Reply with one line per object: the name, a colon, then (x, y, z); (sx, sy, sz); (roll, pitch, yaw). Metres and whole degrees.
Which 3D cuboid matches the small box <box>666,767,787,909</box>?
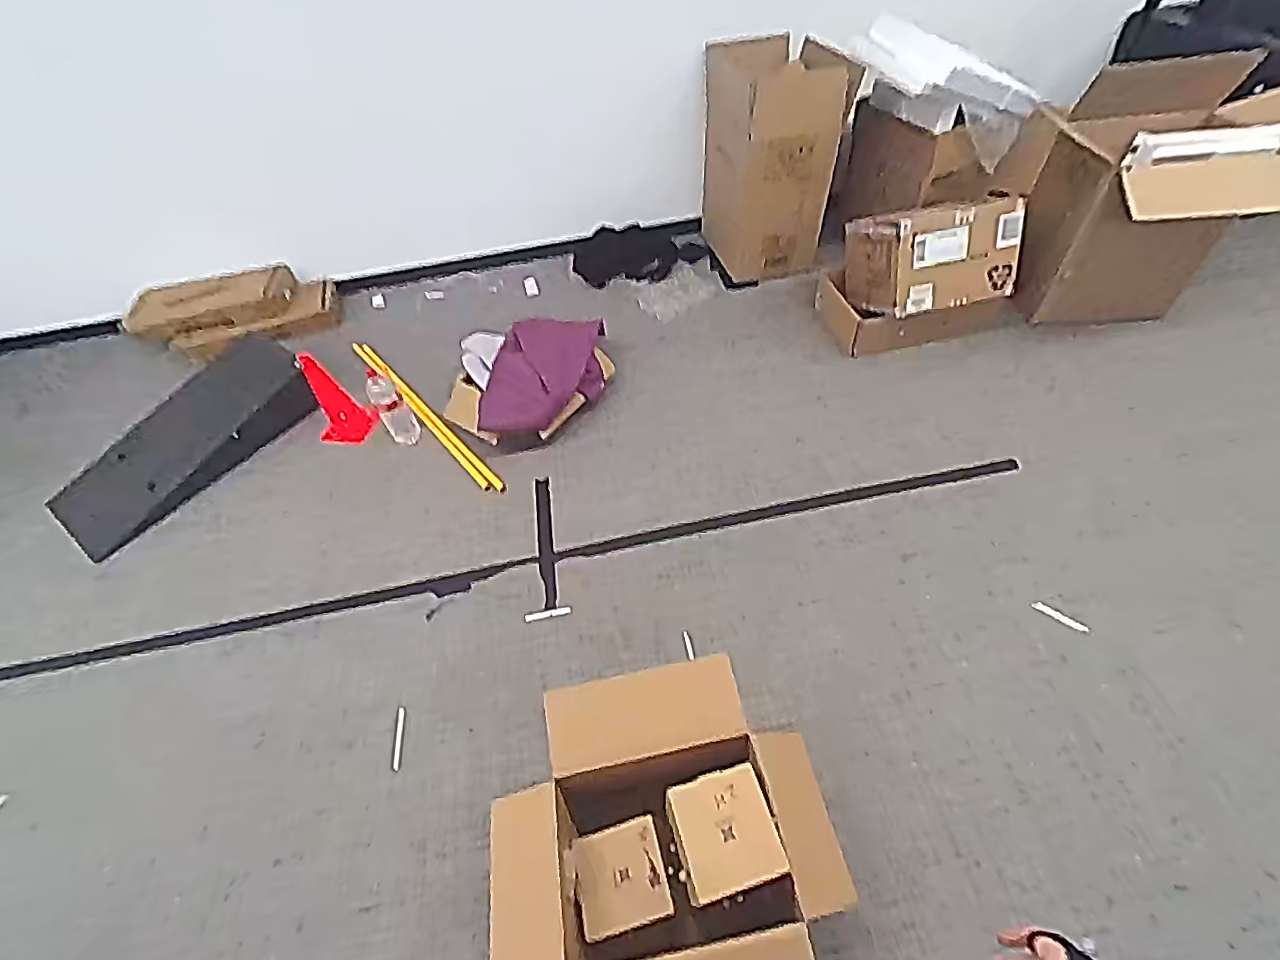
small box: (0.151, 0.665, 1.005); (0.168, 0.176, 0.179); (-13, 51, -10)
